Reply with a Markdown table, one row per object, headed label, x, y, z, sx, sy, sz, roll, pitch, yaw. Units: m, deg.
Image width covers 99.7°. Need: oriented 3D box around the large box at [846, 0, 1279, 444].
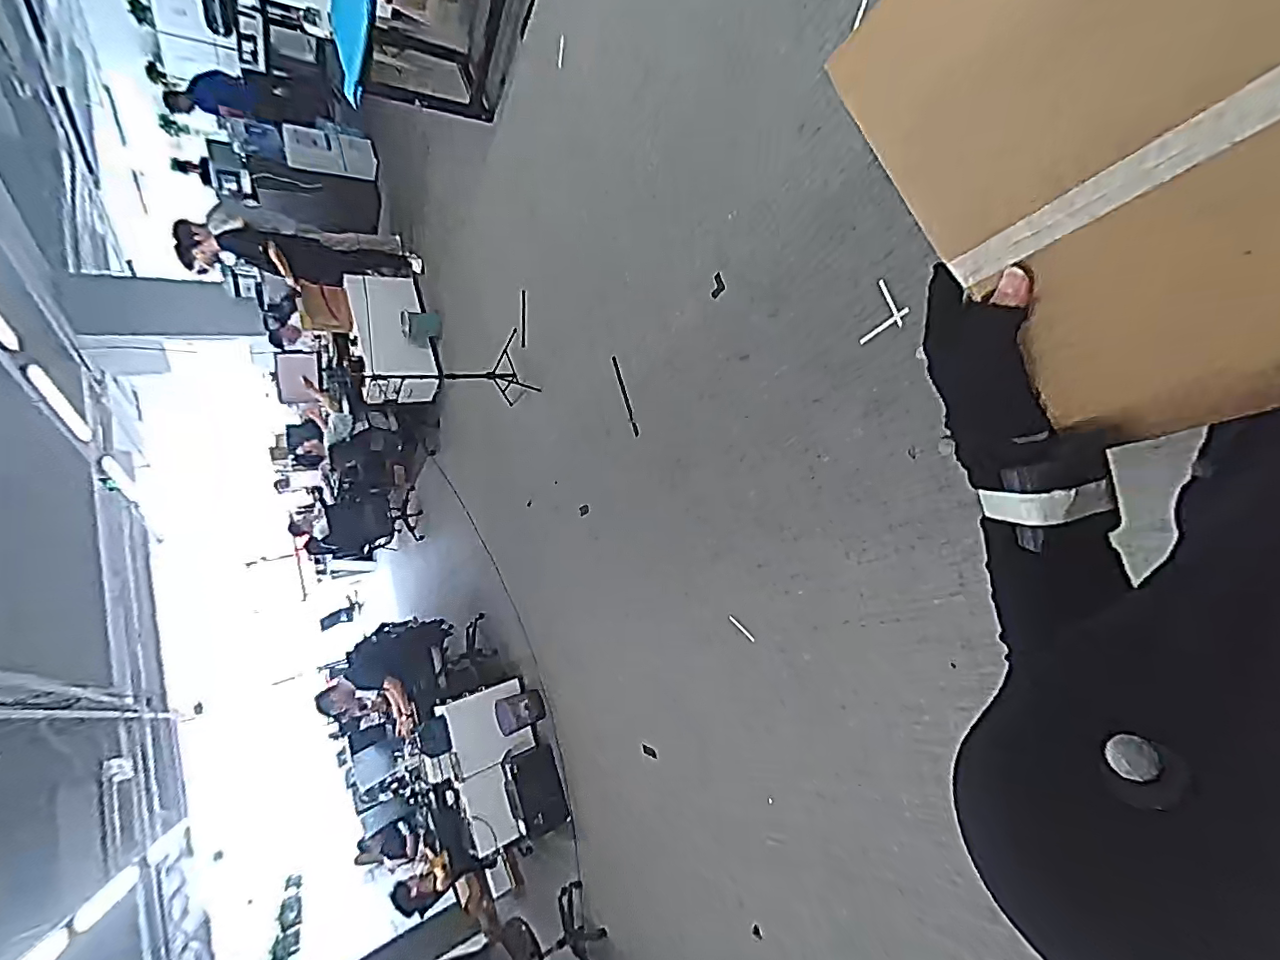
| label | x | y | z | sx | sy | sz | roll | pitch | yaw |
| --- | --- | --- | --- | --- | --- | --- | --- | --- | --- |
| large box | 0.411 | -0.279 | 0.294 | 0.320 | 0.320 | 0.408 | 51 | 145 | -9 |
